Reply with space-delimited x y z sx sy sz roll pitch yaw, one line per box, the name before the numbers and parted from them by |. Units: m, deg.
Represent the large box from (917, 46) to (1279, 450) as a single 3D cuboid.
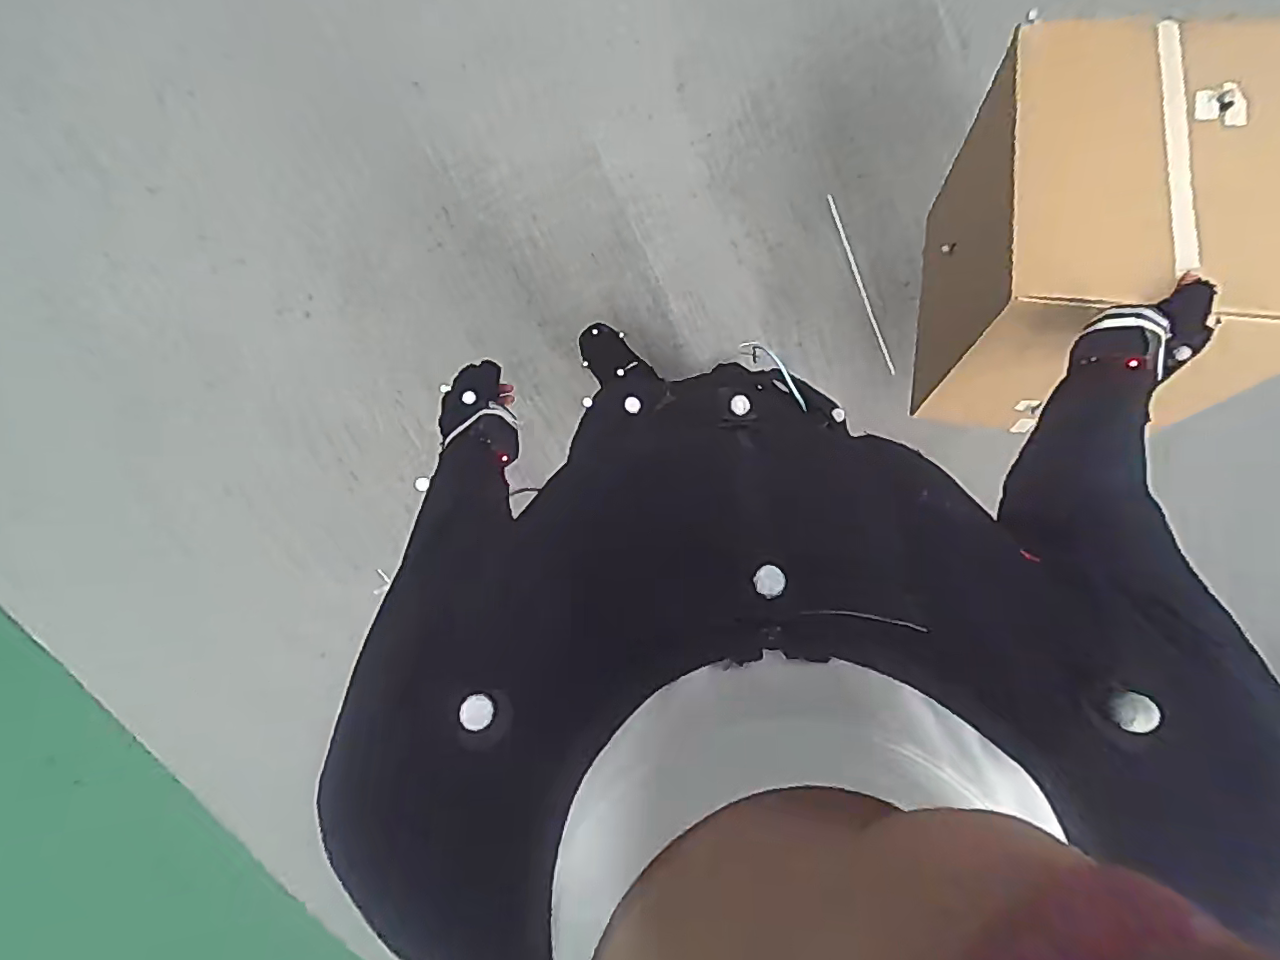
large box | 0.603 -0.293 0.747 0.320 0.320 0.408 10 73 10
